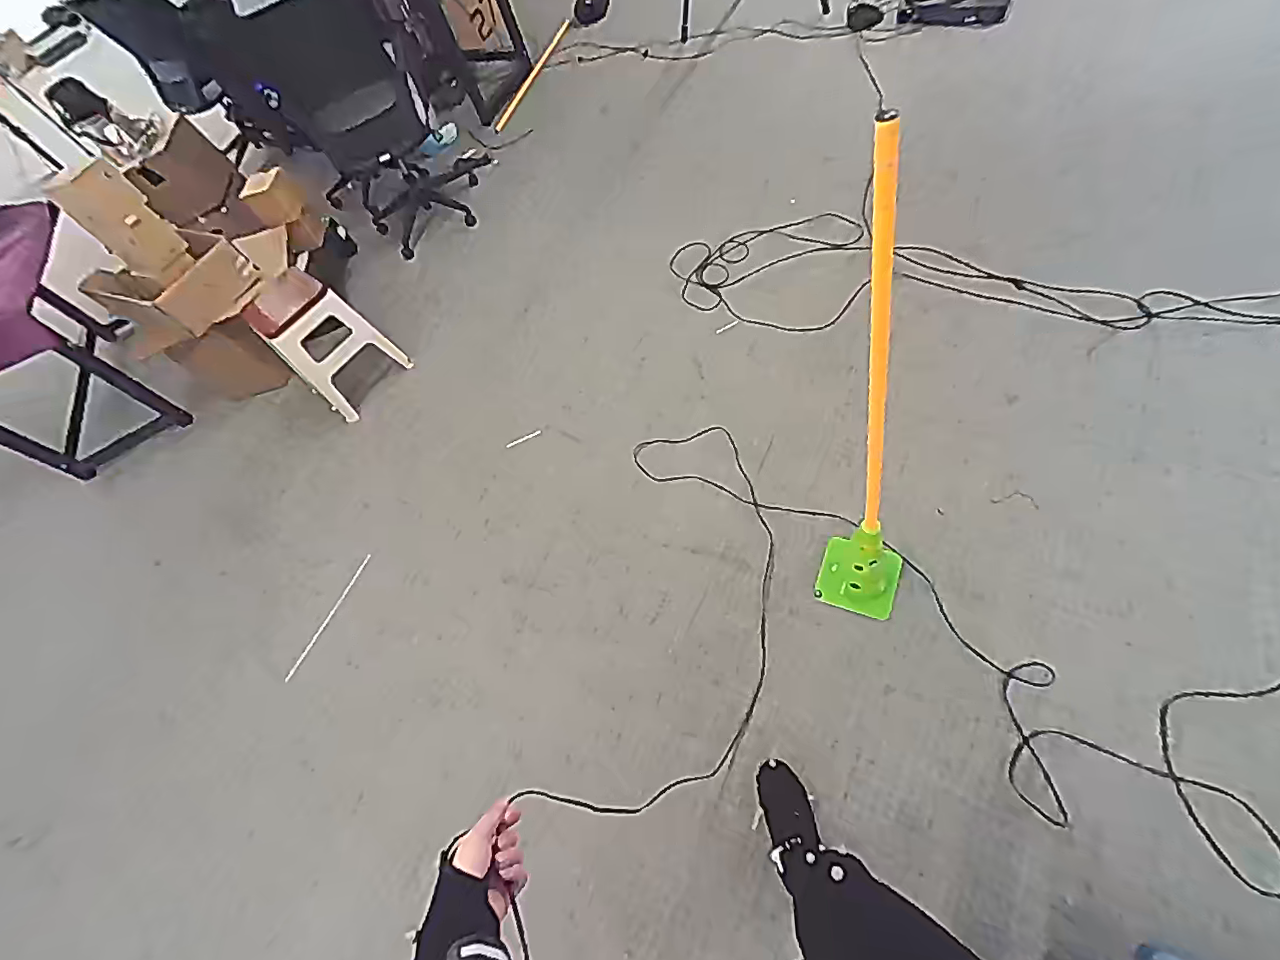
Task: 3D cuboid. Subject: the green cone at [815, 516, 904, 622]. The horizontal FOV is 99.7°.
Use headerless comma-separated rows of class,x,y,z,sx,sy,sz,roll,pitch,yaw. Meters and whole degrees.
green cone,0.564,0.190,1.346,0.200,0.368,0.202,15,65,23
